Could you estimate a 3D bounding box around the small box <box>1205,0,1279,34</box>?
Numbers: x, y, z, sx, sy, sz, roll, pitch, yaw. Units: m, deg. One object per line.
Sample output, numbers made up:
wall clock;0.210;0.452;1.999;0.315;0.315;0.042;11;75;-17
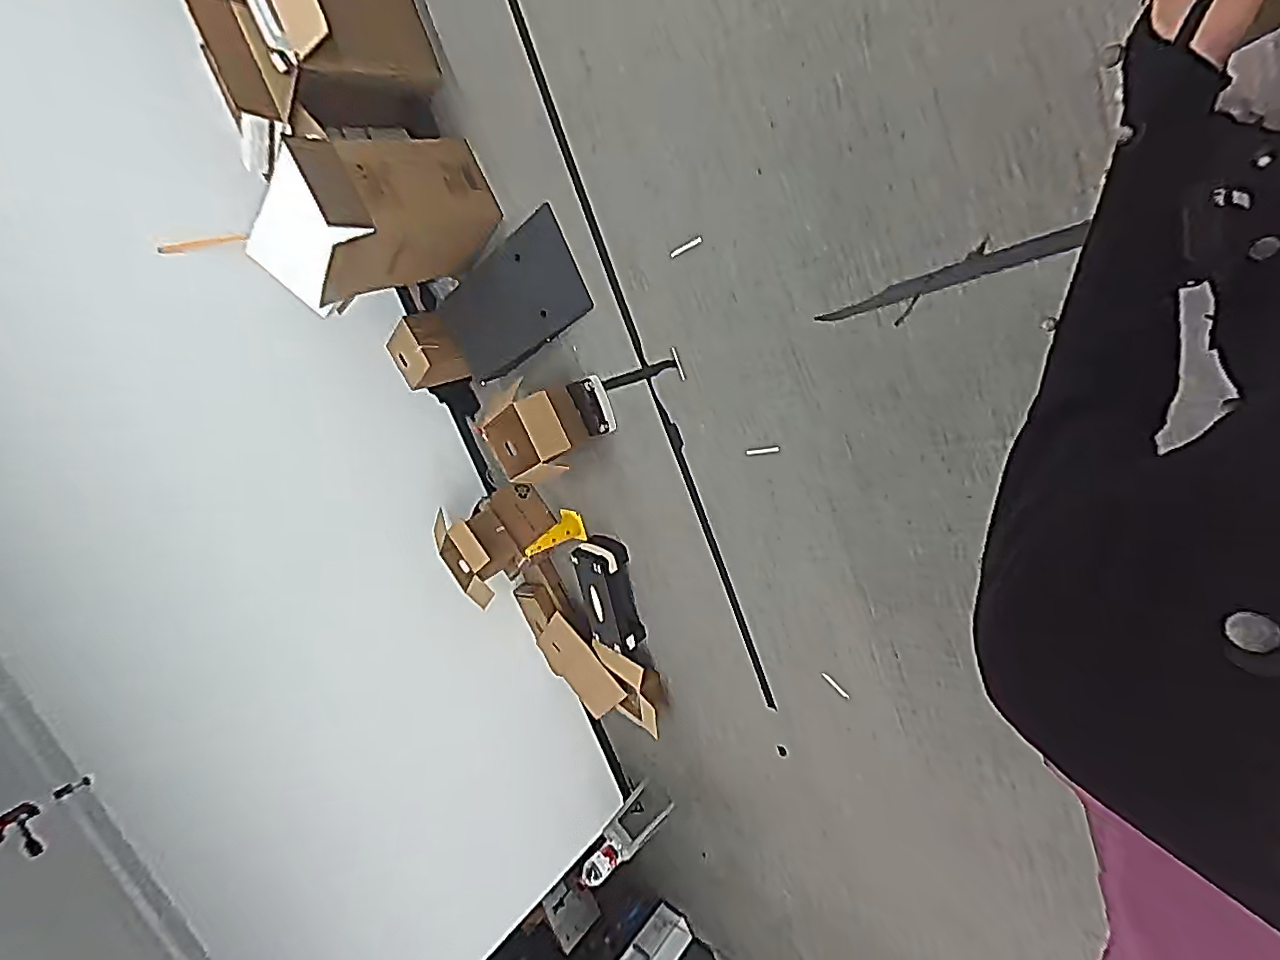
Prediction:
small box;0.514;-0.478;0.386;0.179;0.176;0.168;-17;93;48
